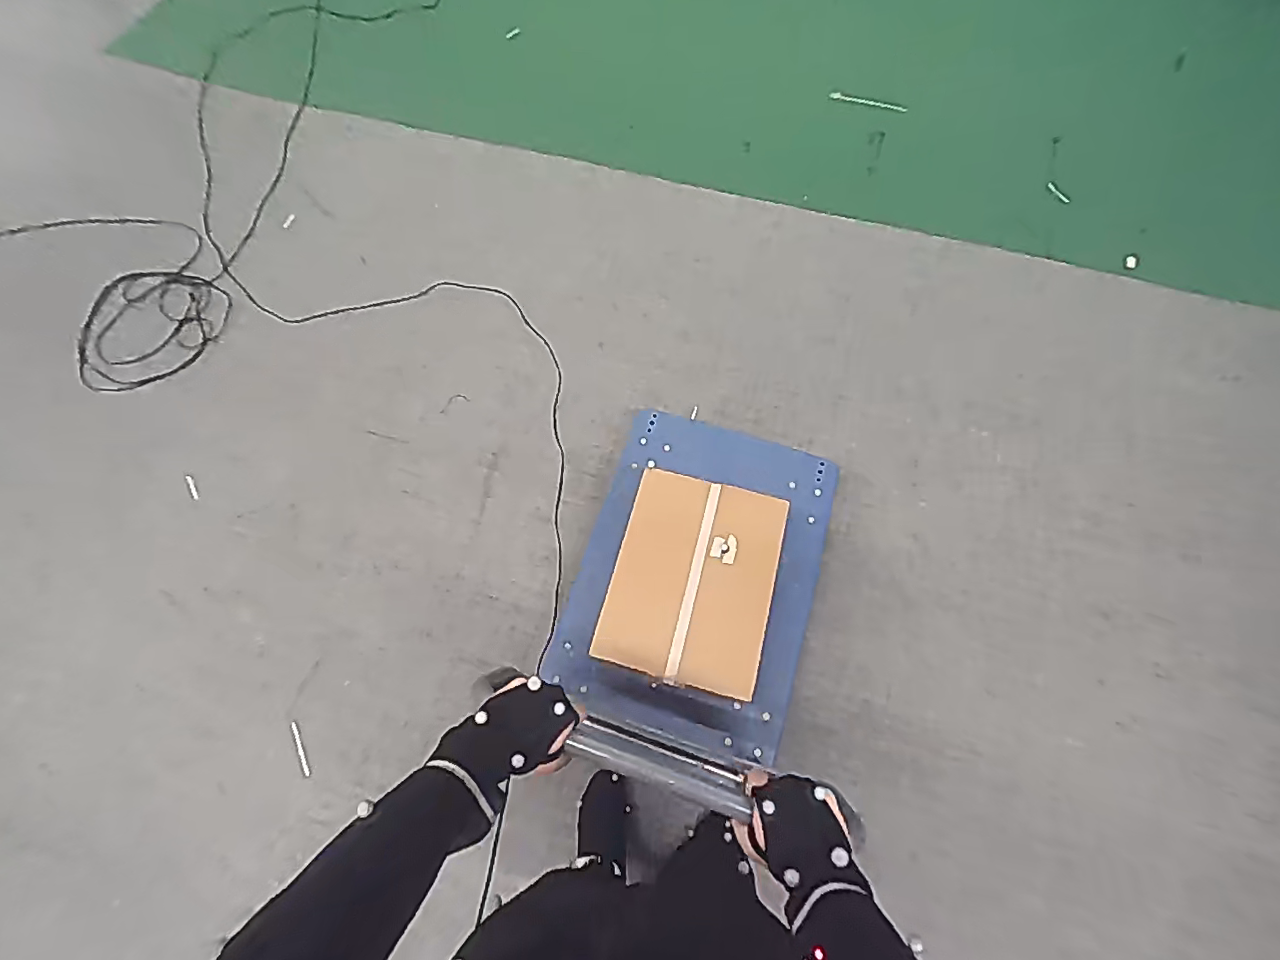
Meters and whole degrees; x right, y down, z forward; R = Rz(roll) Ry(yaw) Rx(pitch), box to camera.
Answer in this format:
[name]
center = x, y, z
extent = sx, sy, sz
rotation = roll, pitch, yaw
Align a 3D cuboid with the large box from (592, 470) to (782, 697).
[large box]
center = 0.107, 0.245, 1.213
extent = 0.320, 0.320, 0.408
rotation = 14, 69, 6
